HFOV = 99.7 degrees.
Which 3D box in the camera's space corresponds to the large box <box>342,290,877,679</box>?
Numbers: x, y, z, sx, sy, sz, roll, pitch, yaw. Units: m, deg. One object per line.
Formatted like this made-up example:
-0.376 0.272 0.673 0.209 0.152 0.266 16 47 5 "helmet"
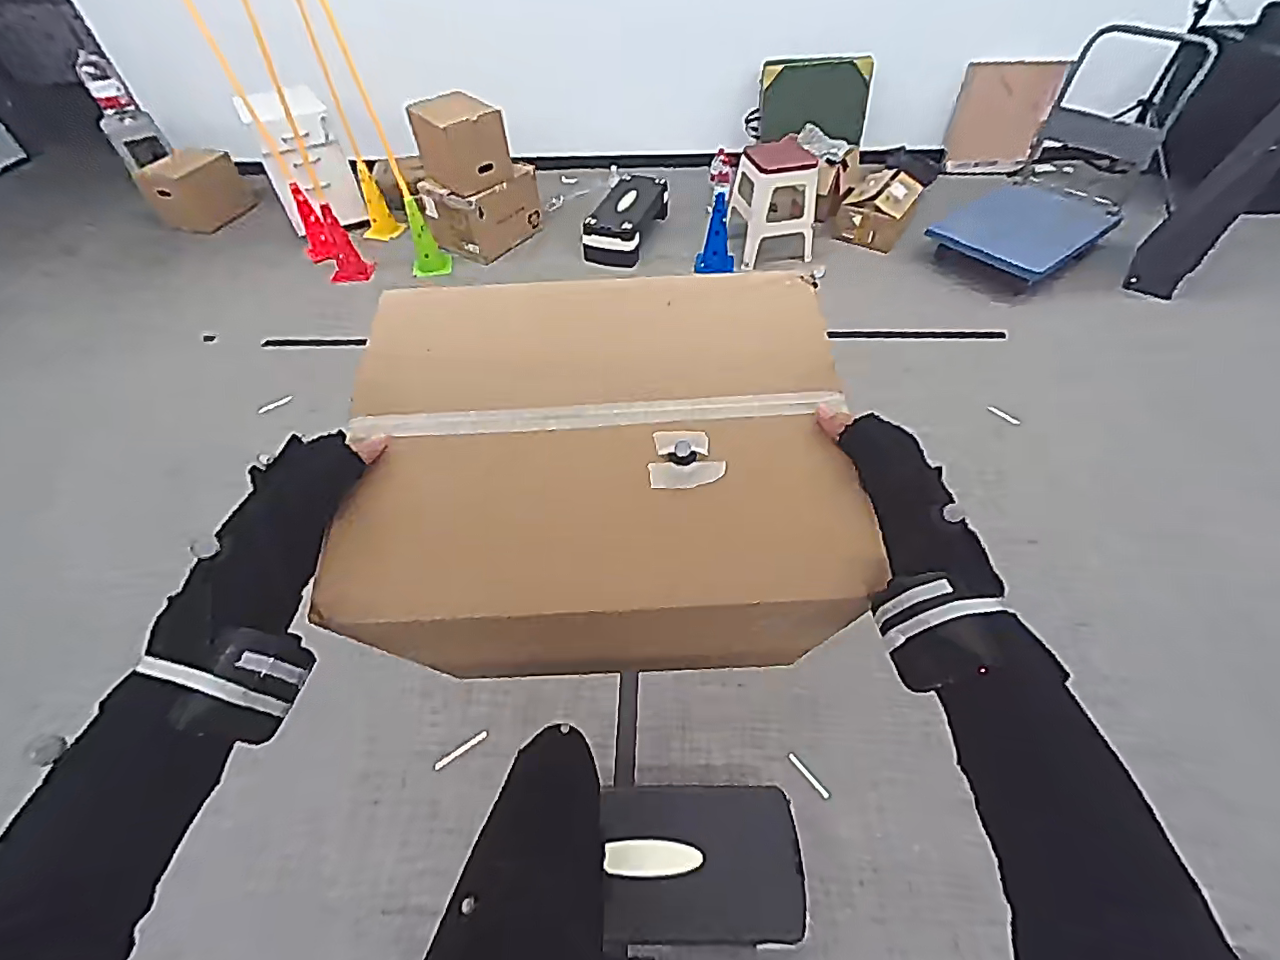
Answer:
-0.028 0.026 0.595 0.408 0.320 0.320 -3 63 0 "large box"
